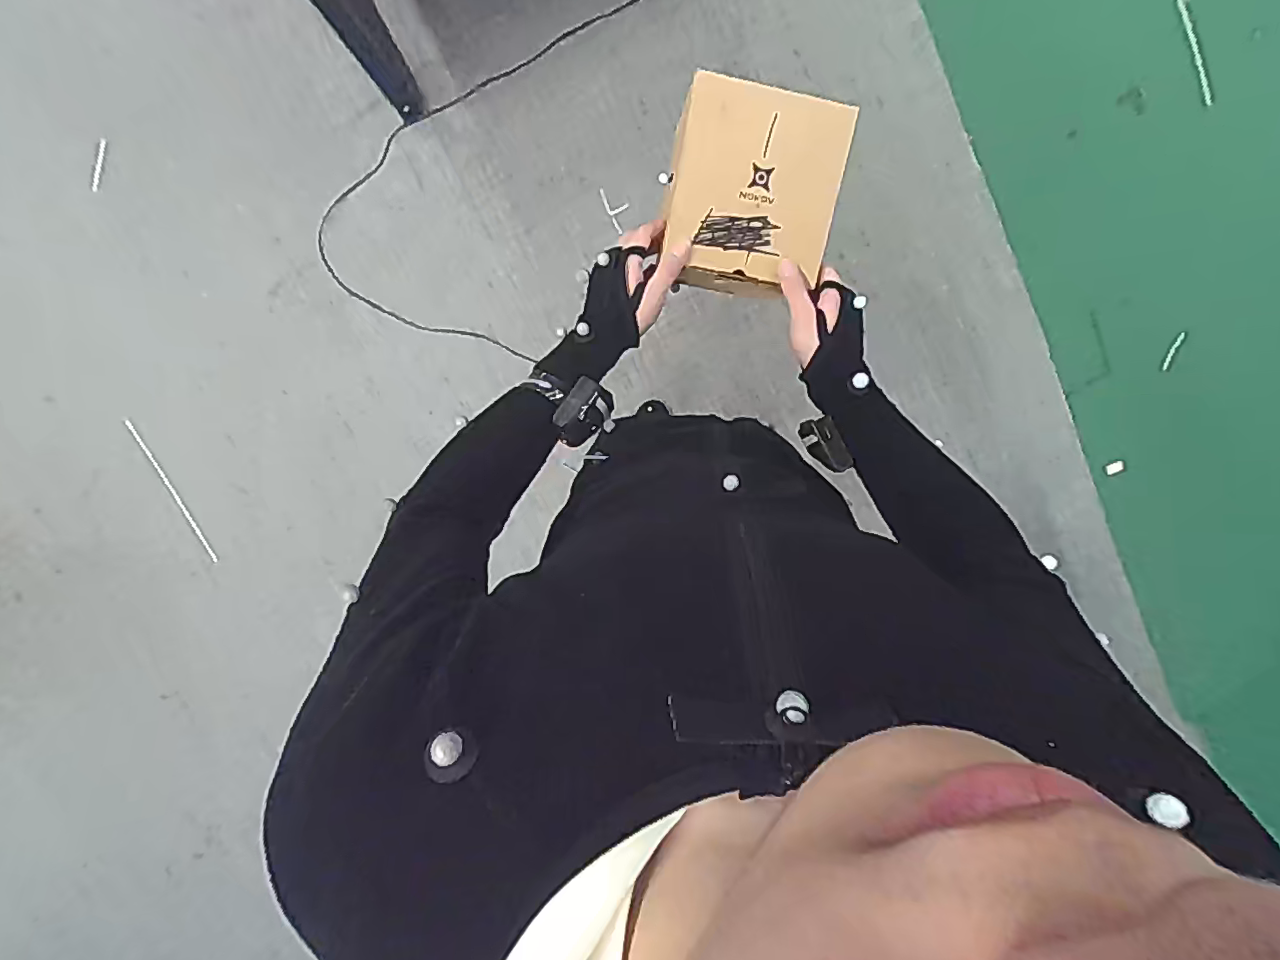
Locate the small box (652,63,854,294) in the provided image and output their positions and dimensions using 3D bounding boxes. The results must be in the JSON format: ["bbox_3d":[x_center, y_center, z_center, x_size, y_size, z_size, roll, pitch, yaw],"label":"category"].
[{"bbox_3d":[0.109,-0.316,0.610,0.168,0.176,0.179,9,104,-6],"label":"small box"}]

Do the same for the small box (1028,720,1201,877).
[{"bbox_3d":[0.899,0.605,1.048,0.179,0.176,0.168,-24,97,4],"label":"small box"}]
